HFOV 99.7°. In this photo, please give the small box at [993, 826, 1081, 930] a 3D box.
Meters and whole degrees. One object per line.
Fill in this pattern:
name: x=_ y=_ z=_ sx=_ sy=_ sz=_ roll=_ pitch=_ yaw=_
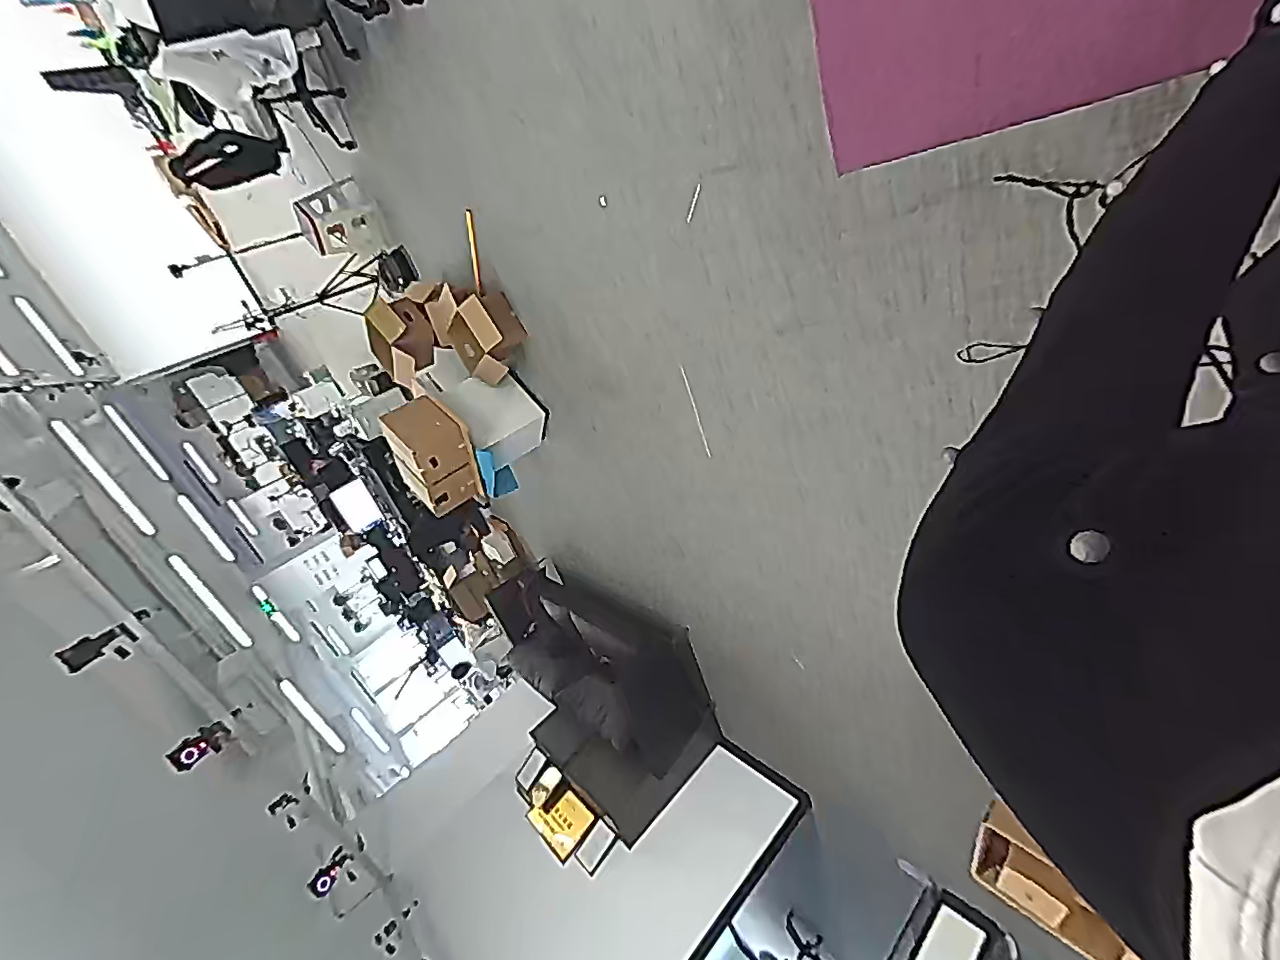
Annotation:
small box: x=1.243 y=1.240 z=1.692 sx=0.168 sy=0.176 sz=0.179 roll=24 pitch=138 yaw=41
